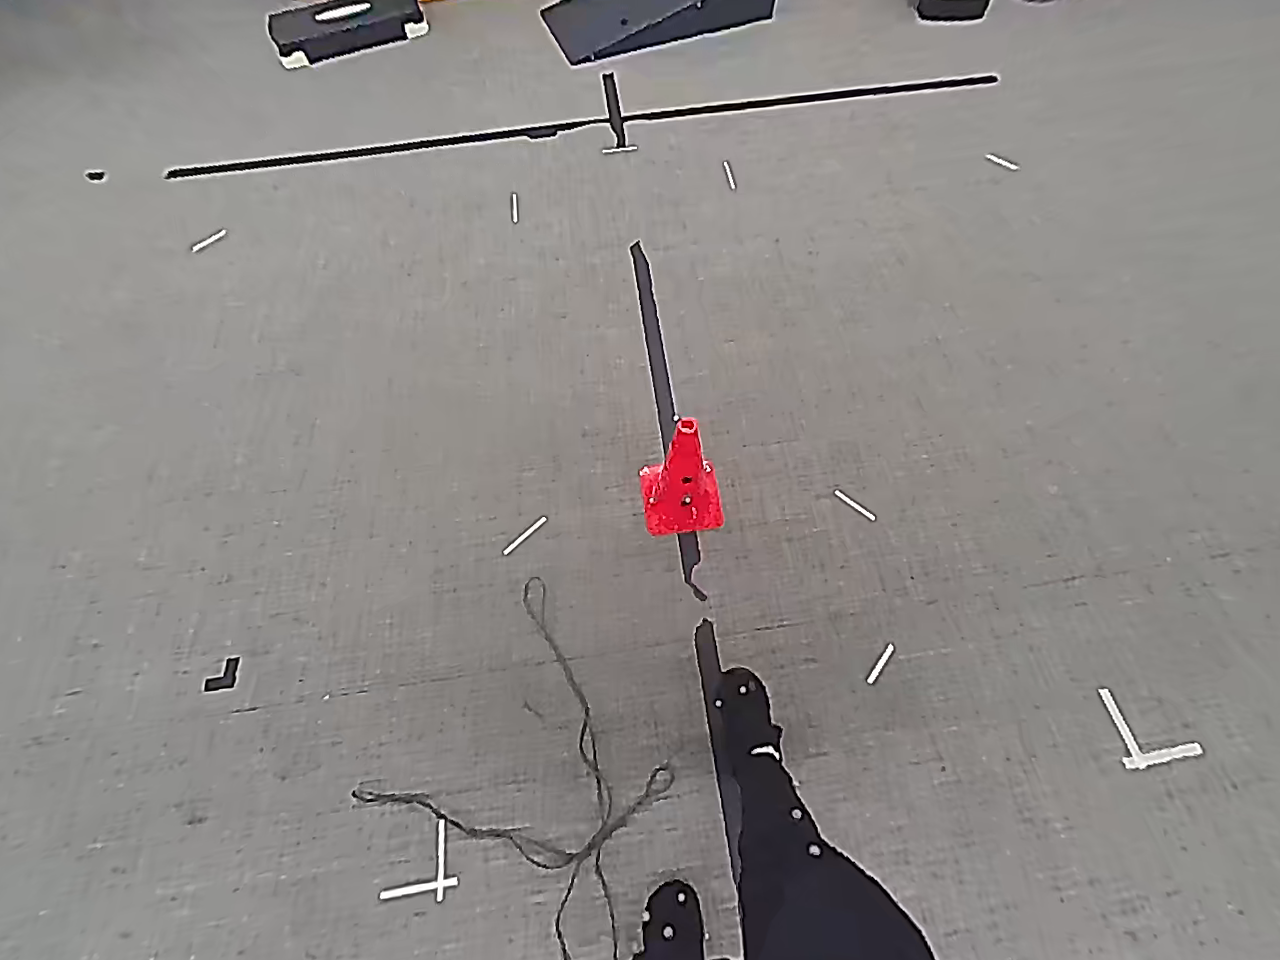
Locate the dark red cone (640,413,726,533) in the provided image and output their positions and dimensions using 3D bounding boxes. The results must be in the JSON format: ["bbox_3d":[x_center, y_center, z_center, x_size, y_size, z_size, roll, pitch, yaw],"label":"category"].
[{"bbox_3d":[0.101,-0.037,1.248,0.201,0.394,0.202,-8,64,-1],"label":"dark red cone"}]
